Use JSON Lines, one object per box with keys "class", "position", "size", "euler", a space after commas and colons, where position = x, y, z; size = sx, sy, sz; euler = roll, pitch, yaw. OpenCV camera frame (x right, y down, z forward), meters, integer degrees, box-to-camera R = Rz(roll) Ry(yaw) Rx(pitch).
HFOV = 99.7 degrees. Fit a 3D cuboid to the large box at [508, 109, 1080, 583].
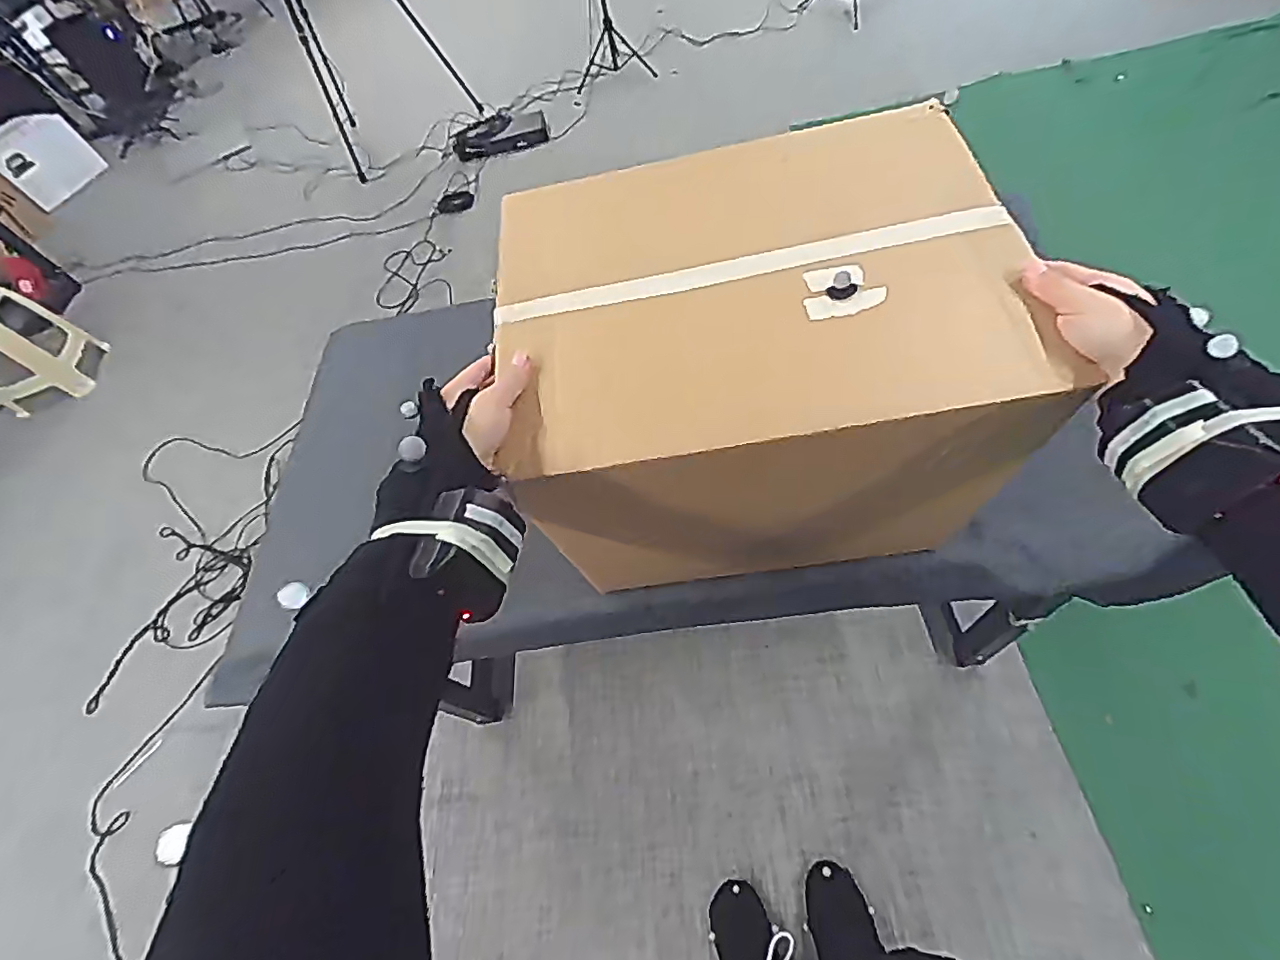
{"class": "large box", "position": [0.104, -0.106, 0.572], "size": [0.408, 0.320, 0.320], "euler": [-9, 64, 5]}
